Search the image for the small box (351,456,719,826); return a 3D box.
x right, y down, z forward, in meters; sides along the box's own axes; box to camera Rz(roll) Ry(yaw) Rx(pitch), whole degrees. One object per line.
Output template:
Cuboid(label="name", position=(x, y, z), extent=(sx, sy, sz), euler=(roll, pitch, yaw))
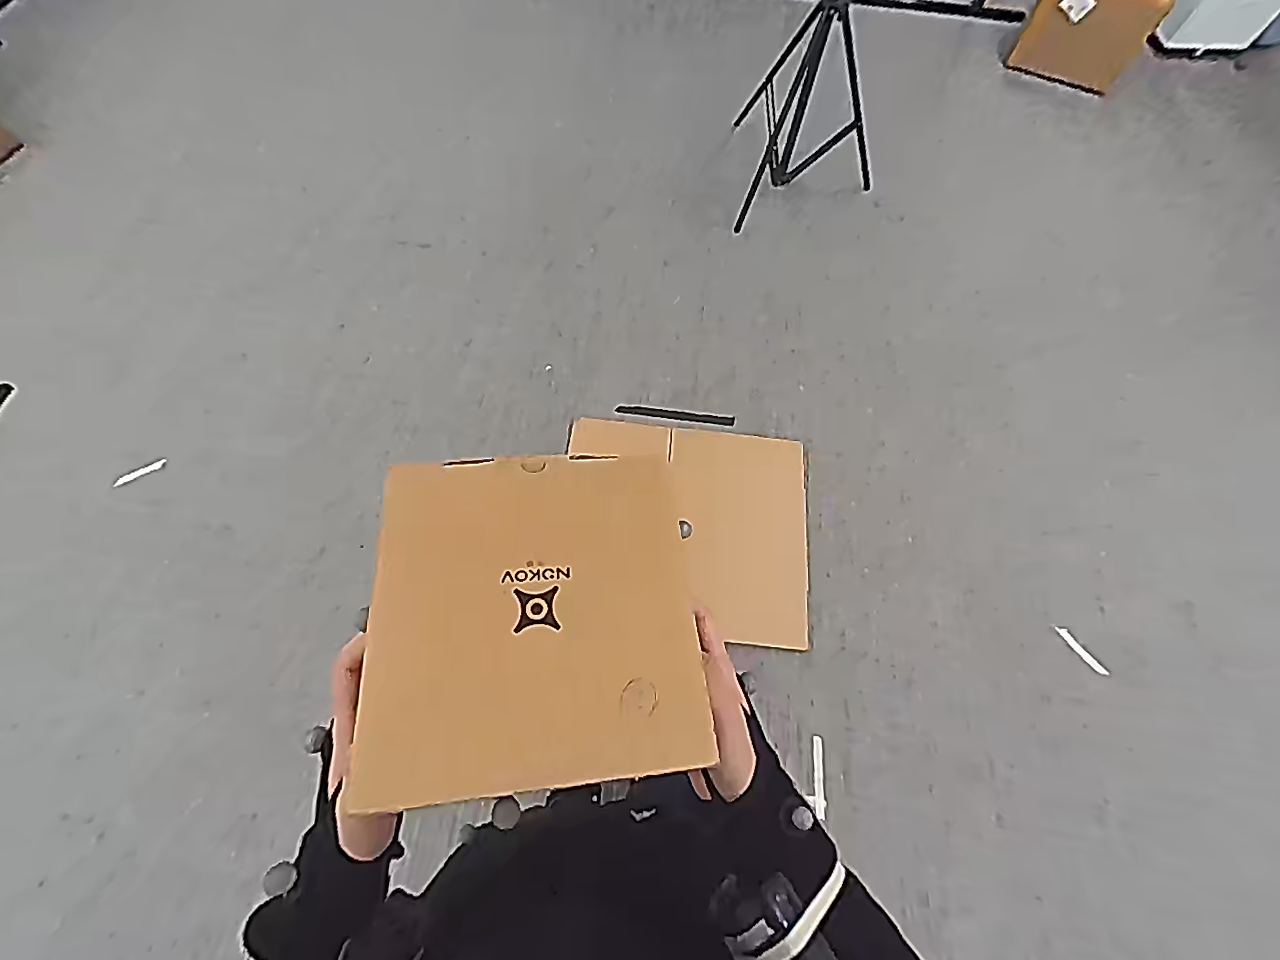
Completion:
Cuboid(label="small box", position=(-0.061, 0.104, 0.347), extent=(0.168, 0.176, 0.179), euler=(-3, 60, -10))
